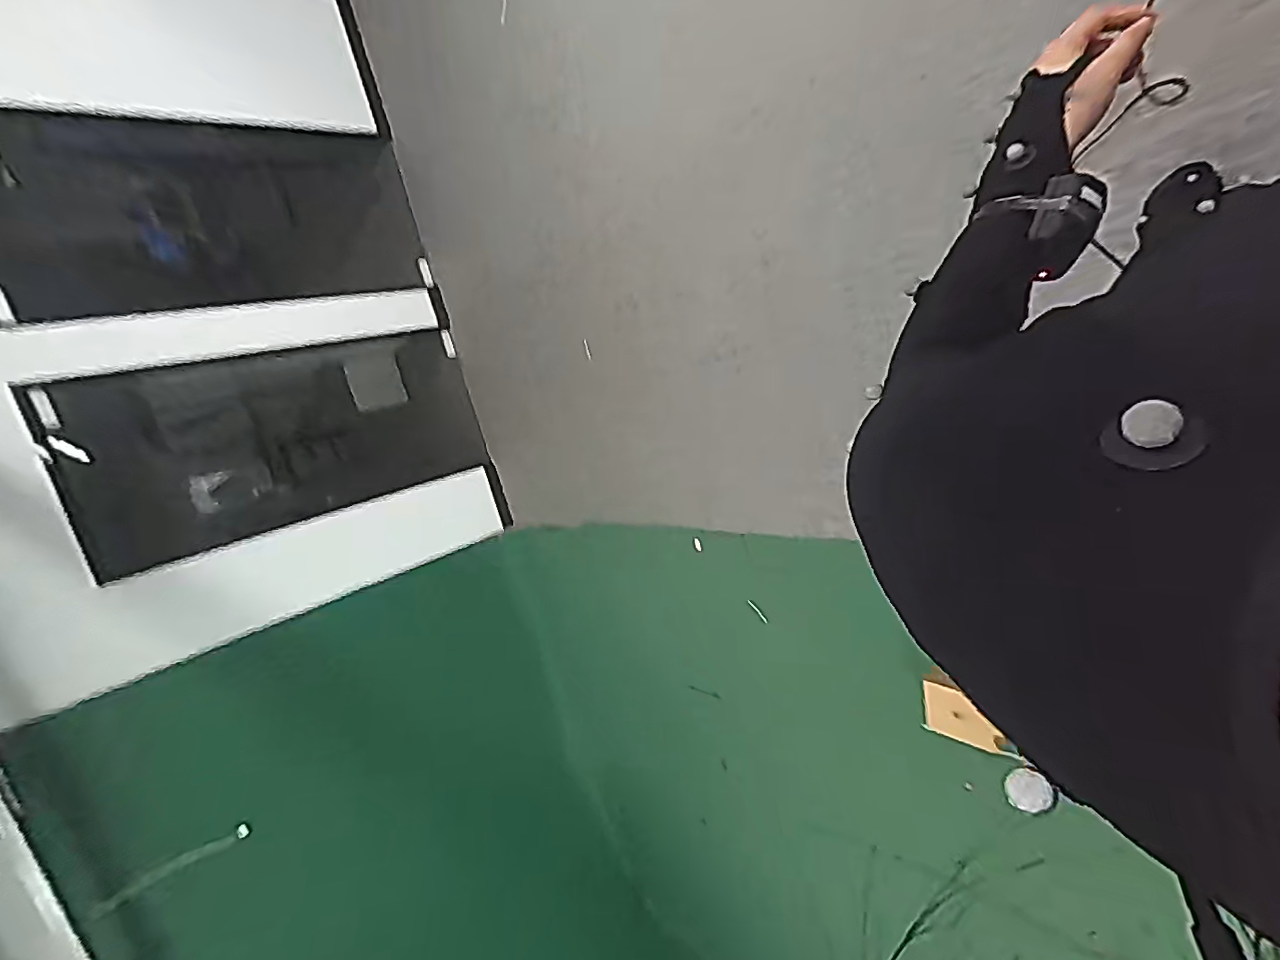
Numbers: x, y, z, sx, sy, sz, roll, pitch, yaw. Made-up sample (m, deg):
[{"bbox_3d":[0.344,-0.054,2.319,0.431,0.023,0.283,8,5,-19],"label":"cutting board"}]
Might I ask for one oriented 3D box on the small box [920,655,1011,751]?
[{"bbox_3d":[0.924,0.620,1.534,0.179,0.176,0.168,4,110,50],"label":"small box"}]
